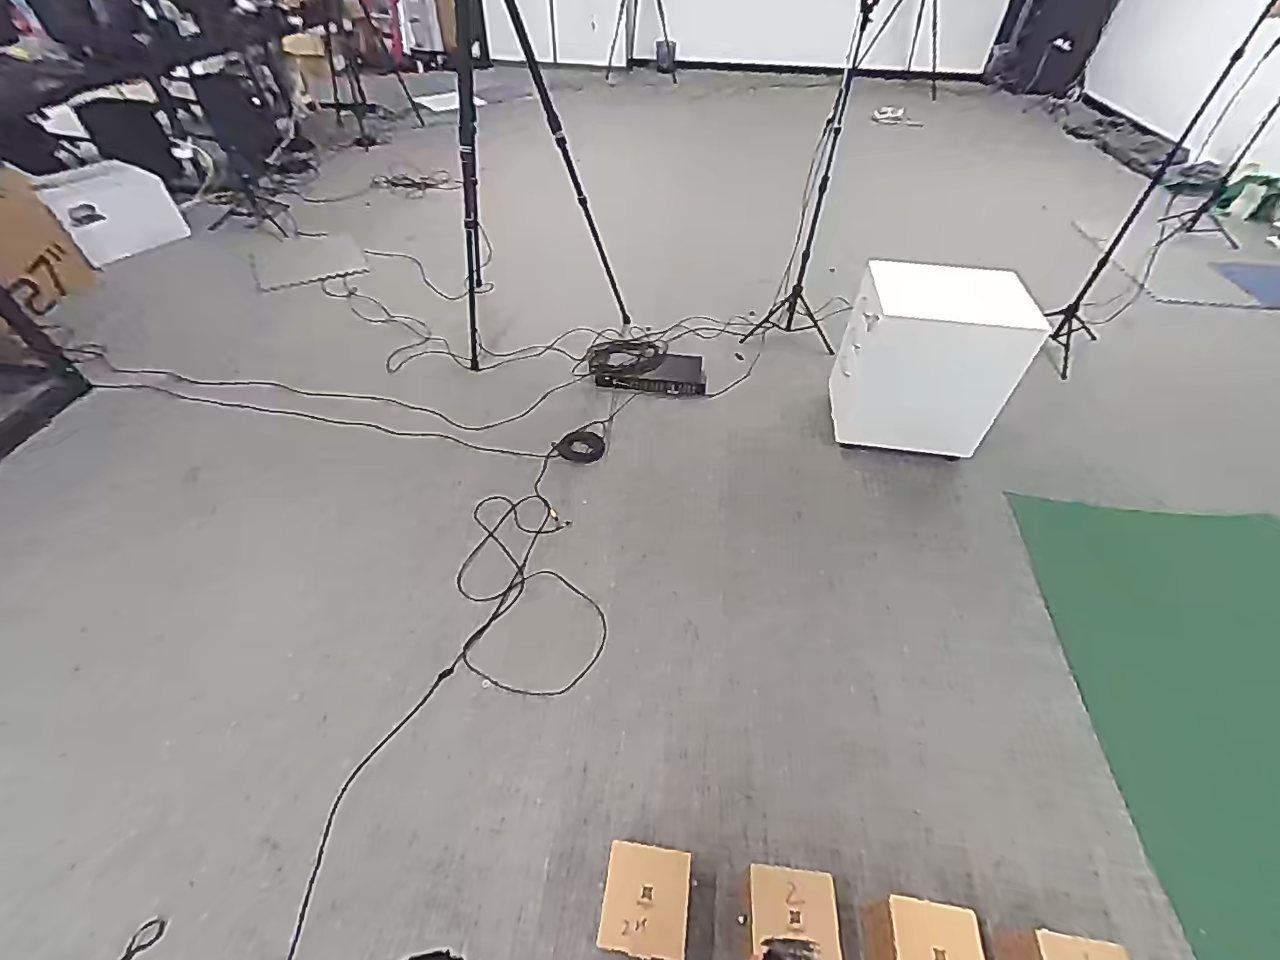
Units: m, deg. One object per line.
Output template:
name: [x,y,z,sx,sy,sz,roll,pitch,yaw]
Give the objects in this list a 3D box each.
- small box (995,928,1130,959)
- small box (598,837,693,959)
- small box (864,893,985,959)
small box: [0.817,0.983,1.026,0.168,0.176,0.179,7,47,5]
small box: [0.012,0.864,1.109,0.168,0.176,0.179,7,47,6]
small box: [0.553,0.940,1.057,0.168,0.176,0.179,8,48,5]
